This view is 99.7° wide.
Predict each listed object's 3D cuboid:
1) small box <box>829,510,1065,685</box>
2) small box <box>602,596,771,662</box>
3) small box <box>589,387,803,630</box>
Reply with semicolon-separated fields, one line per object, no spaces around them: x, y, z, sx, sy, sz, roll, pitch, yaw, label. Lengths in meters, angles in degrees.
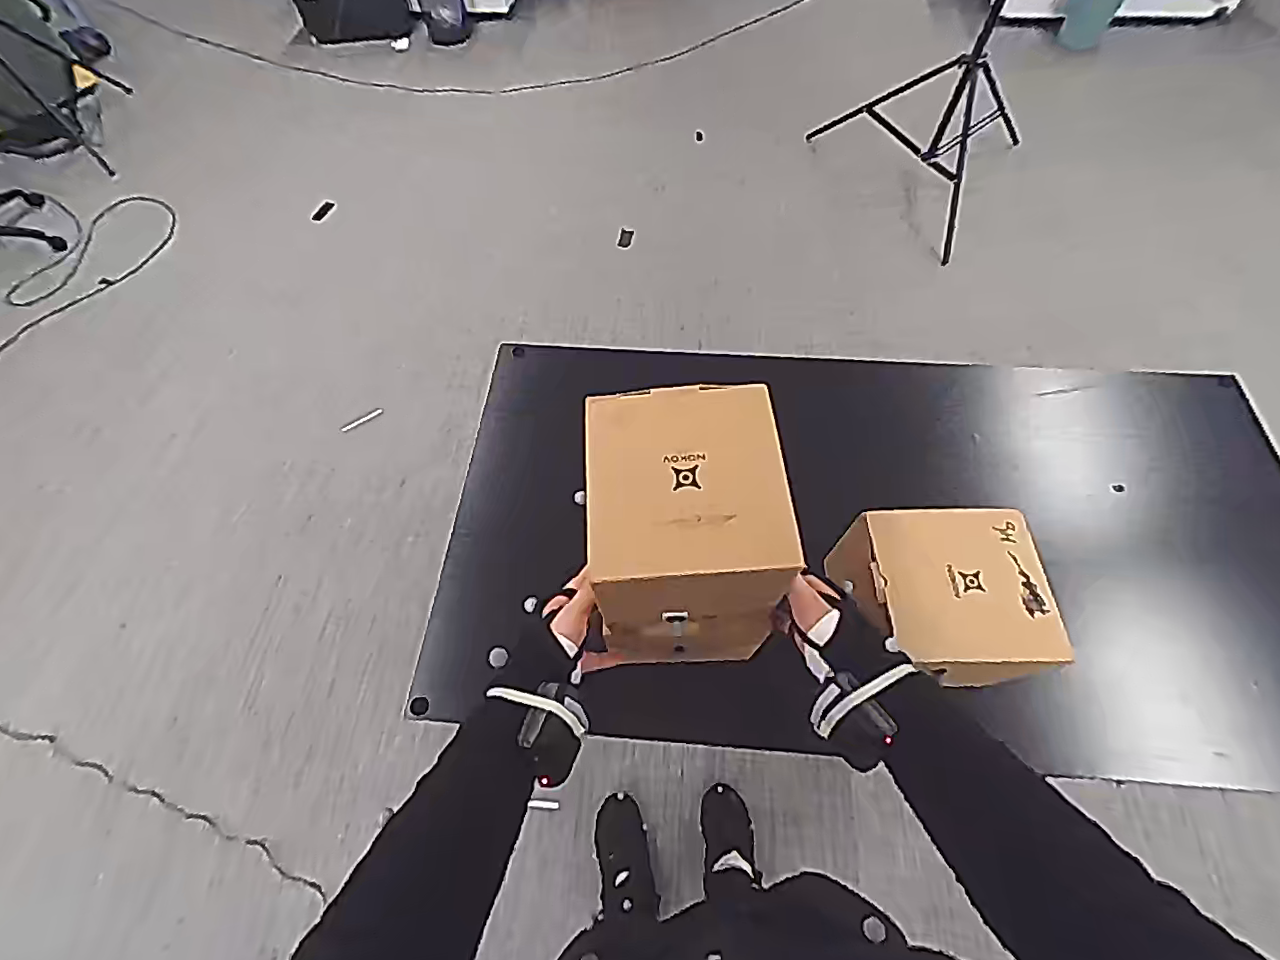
0.335;0.145;0.639;0.179;0.176;0.168;-1;61;2;small box
0.048;0.122;0.658;0.179;0.176;0.168;-3;61;1;small box
0.041;0.034;0.522;0.168;0.176;0.179;-5;63;1;small box
